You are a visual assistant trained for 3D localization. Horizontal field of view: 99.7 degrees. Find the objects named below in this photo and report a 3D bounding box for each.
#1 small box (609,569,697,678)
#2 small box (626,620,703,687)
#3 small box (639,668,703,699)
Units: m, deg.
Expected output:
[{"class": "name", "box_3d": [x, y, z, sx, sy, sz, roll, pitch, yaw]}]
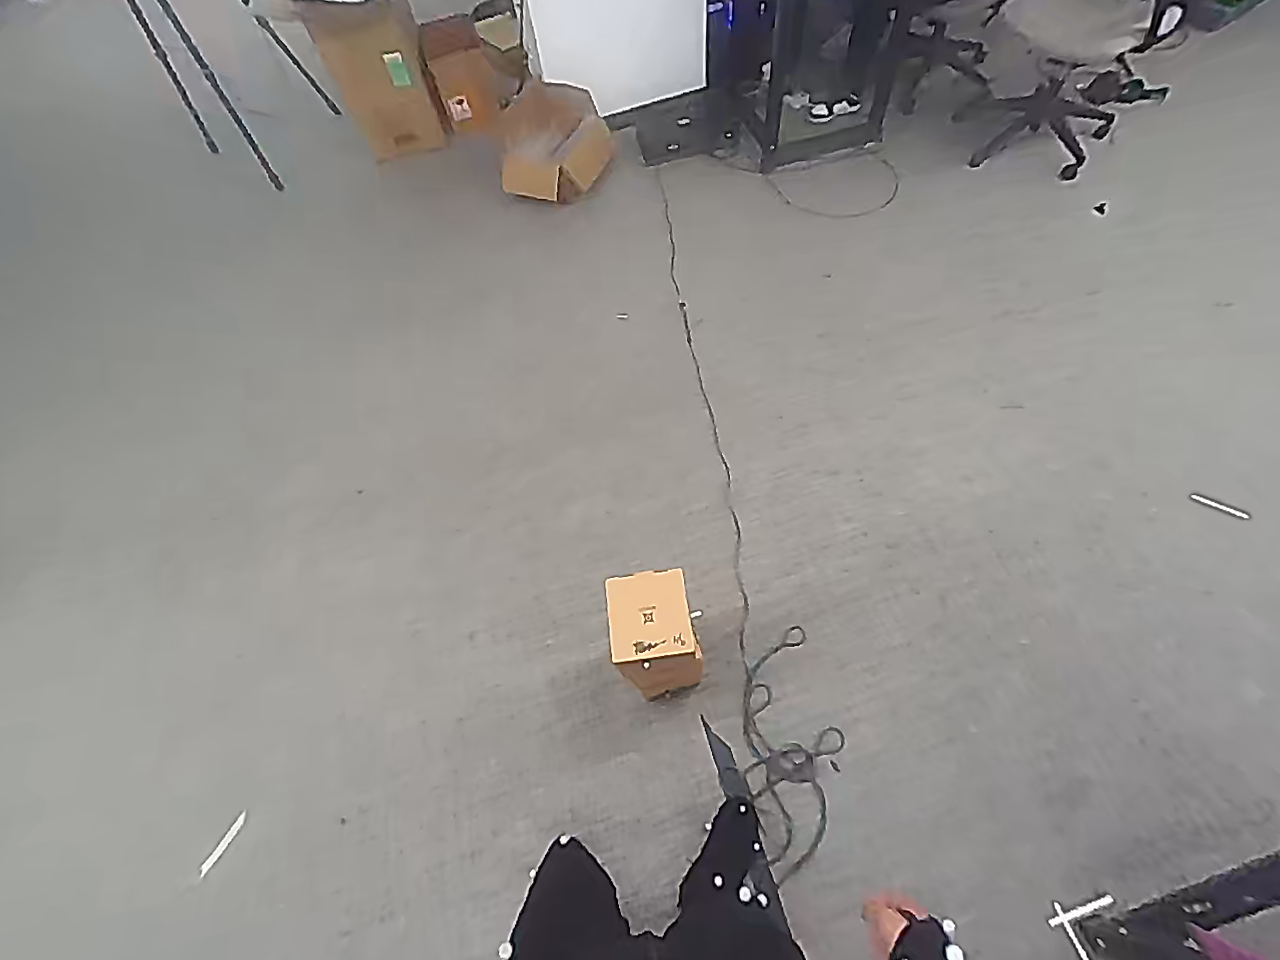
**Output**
[{"class": "small box", "box_3d": [0.029, 0.311, 1.161, 0.168, 0.176, 0.179, -8, 59, 2]}, {"class": "small box", "box_3d": [0.048, 0.389, 1.305, 0.179, 0.176, 0.168, -15, 60, -1]}, {"class": "small box", "box_3d": [0.064, 0.466, 1.446, 0.168, 0.176, 0.179, -16, 61, -2]}]
